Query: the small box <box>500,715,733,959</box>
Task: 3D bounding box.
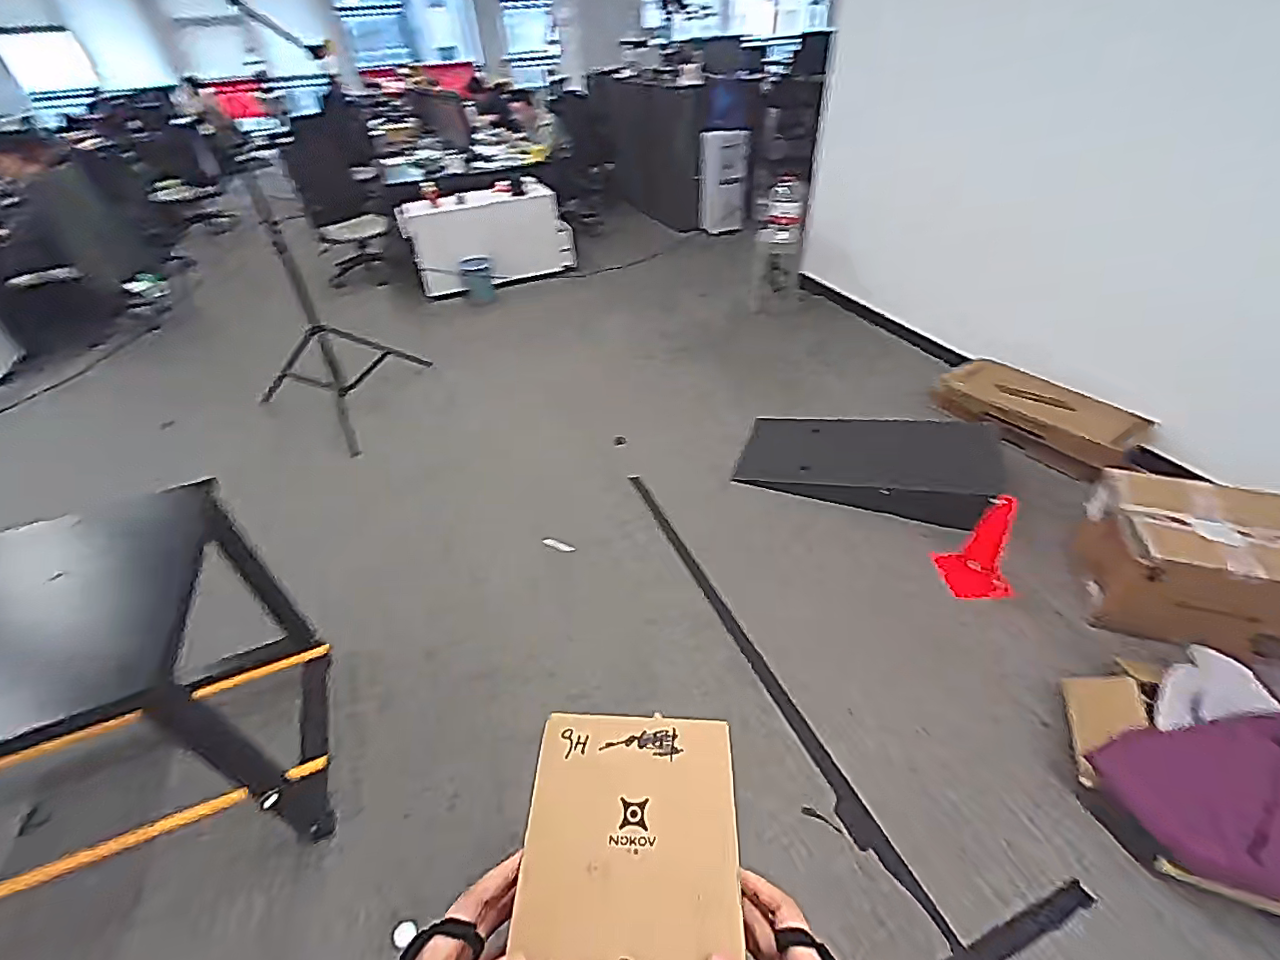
[{"bbox_3d":[-0.012,0.334,0.484,0.168,0.176,0.179,1,44,1],"label":"small box"}]
